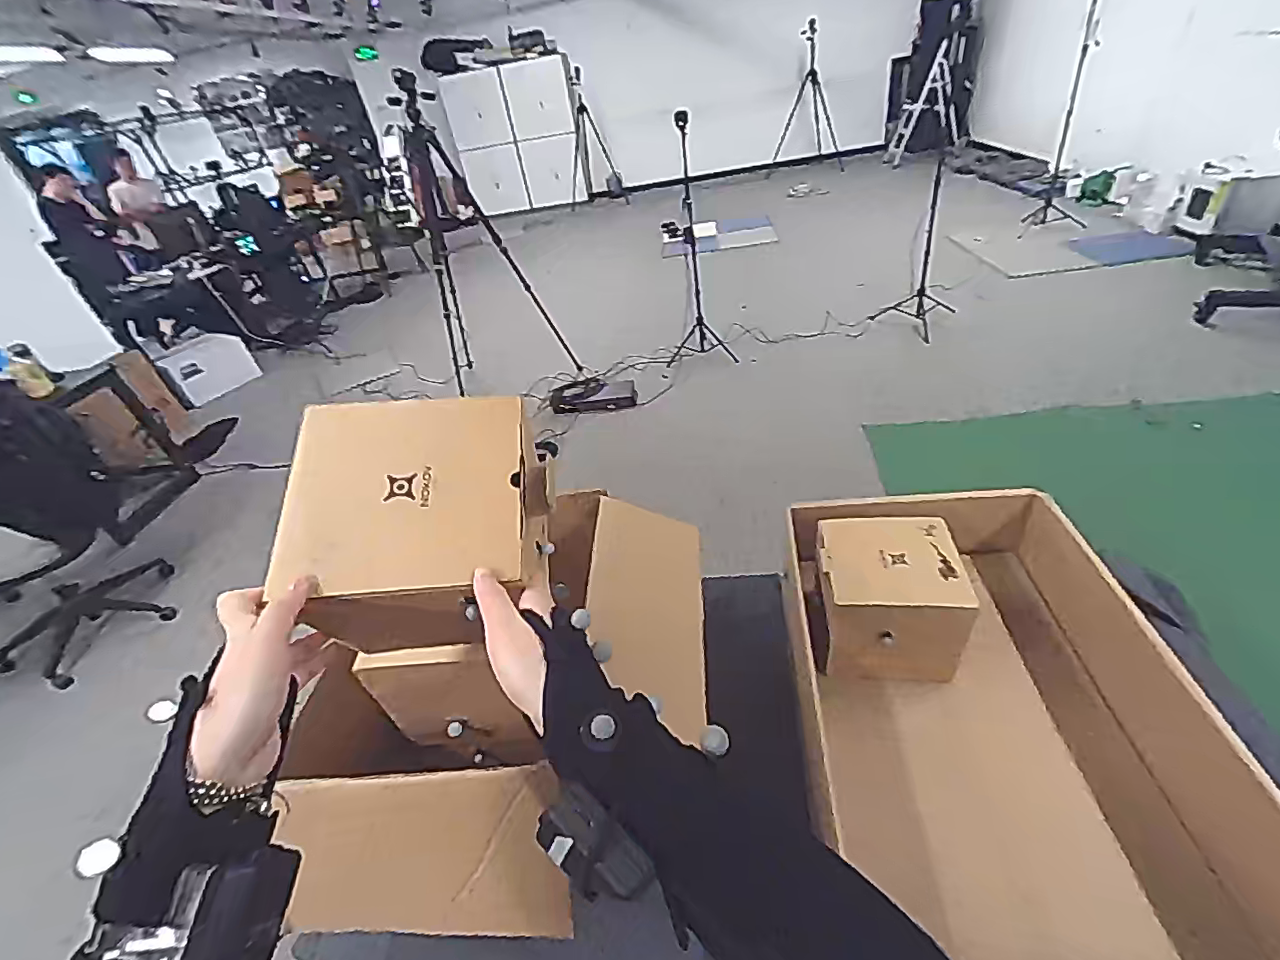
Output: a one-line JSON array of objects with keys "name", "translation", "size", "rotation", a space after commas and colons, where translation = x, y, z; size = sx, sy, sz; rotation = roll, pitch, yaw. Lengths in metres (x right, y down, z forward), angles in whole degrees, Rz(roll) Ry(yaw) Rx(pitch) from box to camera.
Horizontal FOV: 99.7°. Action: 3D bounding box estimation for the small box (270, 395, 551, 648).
[{"name": "small box", "translation": [-0.175, 0.044, 0.477], "size": [0.179, 0.176, 0.168], "rotation": [-4, 62, -6]}]
